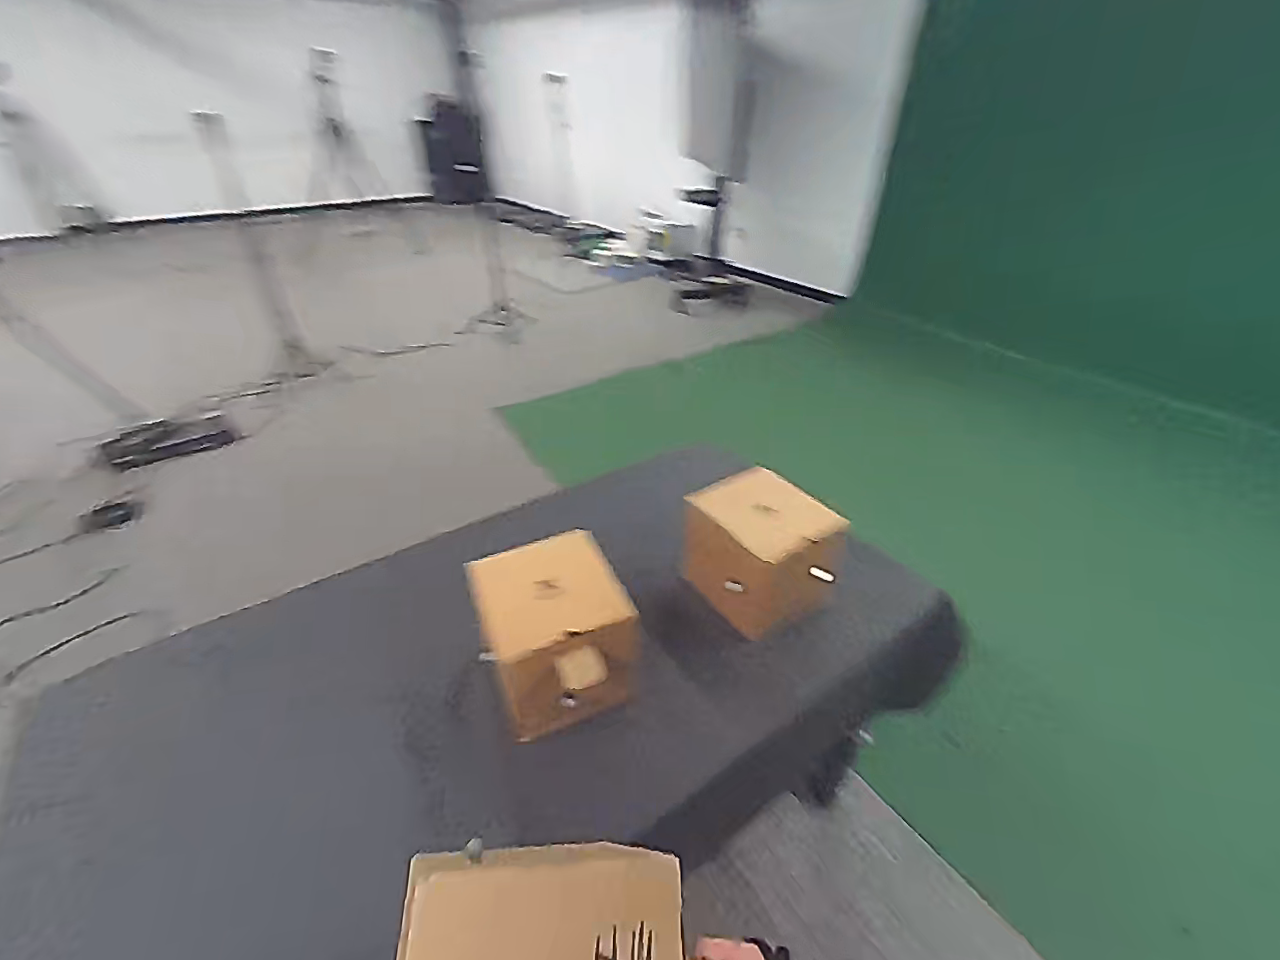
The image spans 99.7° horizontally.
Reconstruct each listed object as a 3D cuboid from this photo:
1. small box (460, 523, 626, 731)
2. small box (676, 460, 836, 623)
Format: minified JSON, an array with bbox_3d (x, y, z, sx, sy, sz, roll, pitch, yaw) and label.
[{"bbox_3d":[-0.129,0.189,0.719,0.168,0.176,0.179,-16,39,-22],"label":"small box"},{"bbox_3d":[0.173,0.099,0.851,0.168,0.176,0.179,-21,39,-29],"label":"small box"}]
